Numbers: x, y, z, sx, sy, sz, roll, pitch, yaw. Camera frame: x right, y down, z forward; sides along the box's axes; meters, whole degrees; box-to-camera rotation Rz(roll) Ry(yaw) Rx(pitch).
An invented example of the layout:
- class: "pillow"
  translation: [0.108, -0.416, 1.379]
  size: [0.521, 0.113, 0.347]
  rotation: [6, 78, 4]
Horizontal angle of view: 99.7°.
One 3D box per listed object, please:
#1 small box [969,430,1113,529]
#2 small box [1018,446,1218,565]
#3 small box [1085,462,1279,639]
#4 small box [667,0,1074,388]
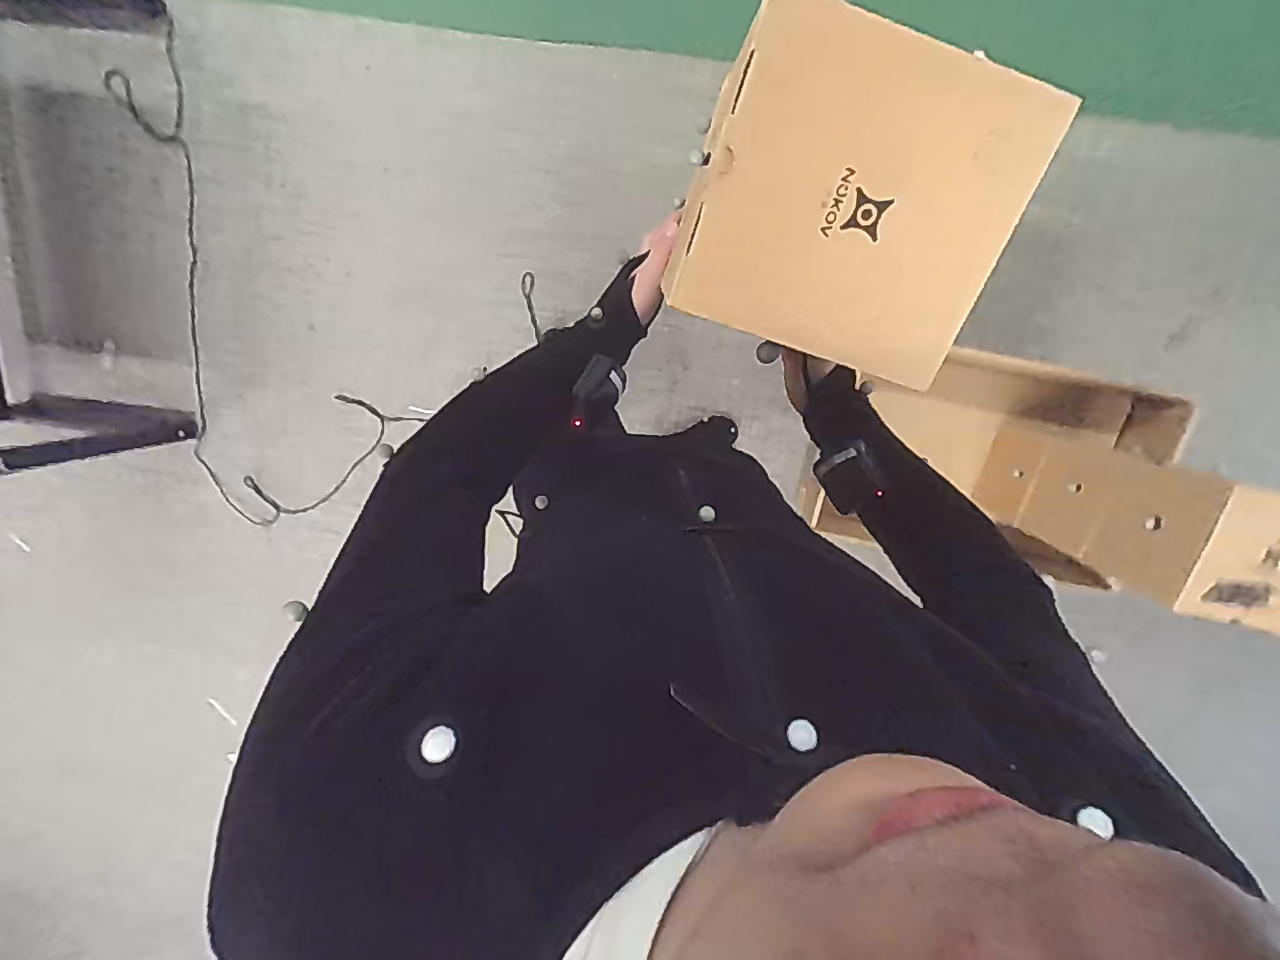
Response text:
- class: "small box"
  translation: [0.798, 0.008, 1.076]
  size: [0.168, 0.176, 0.179]
  rotation: [15, 105, 0]
- class: "small box"
  translation: [0.792, 0.049, 0.917]
  size: [0.168, 0.176, 0.179]
  rotation: [14, 103, 1]
- class: "small box"
  translation: [0.783, 0.089, 0.757]
  size: [0.168, 0.176, 0.179]
  rotation: [13, 103, 1]
- class: "small box"
  translation: [0.126, -0.183, 0.379]
  size: [0.179, 0.176, 0.168]
  rotation: [16, 112, -5]
